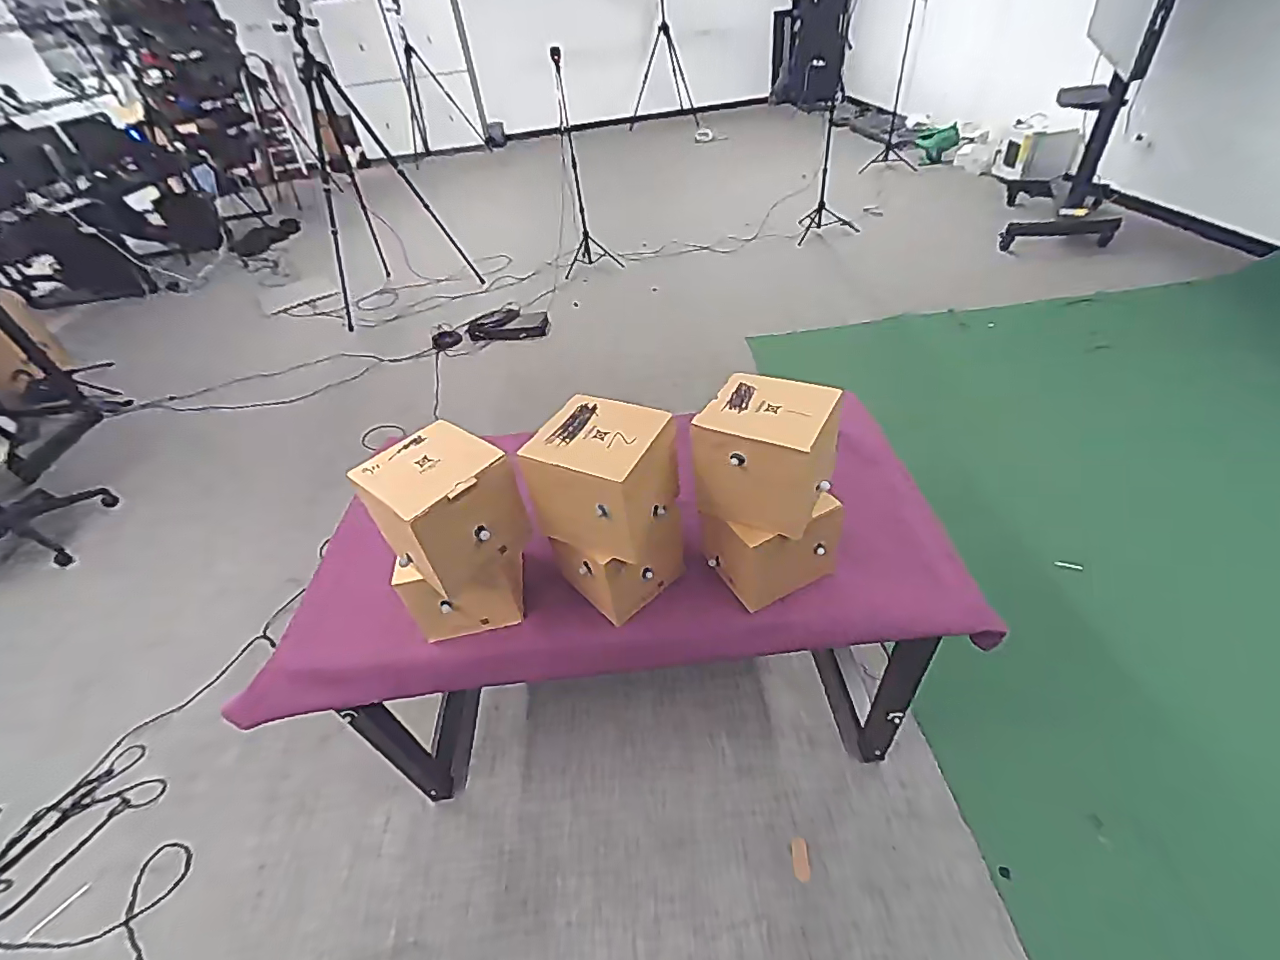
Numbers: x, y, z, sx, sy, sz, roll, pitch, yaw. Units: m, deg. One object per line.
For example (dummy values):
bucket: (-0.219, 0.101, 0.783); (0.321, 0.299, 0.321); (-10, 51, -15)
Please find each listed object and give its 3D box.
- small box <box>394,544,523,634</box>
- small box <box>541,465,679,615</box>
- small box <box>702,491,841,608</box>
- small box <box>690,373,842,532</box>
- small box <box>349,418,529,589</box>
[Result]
small box: (-0.306, 0.150, 0.949); (0.168, 0.176, 0.179); (-12, 41, -5)
small box: (-0.045, 0.110, 0.949); (0.168, 0.176, 0.179); (-33, 47, -27)
small box: (0.215, 0.087, 0.937); (0.179, 0.176, 0.168); (-22, 42, -15)
small box: (0.194, -0.044, 0.840); (0.179, 0.176, 0.168); (17, 46, 27)
small box: (-0.294, 0.038, 0.824); (0.179, 0.176, 0.168); (26, 51, 32)
